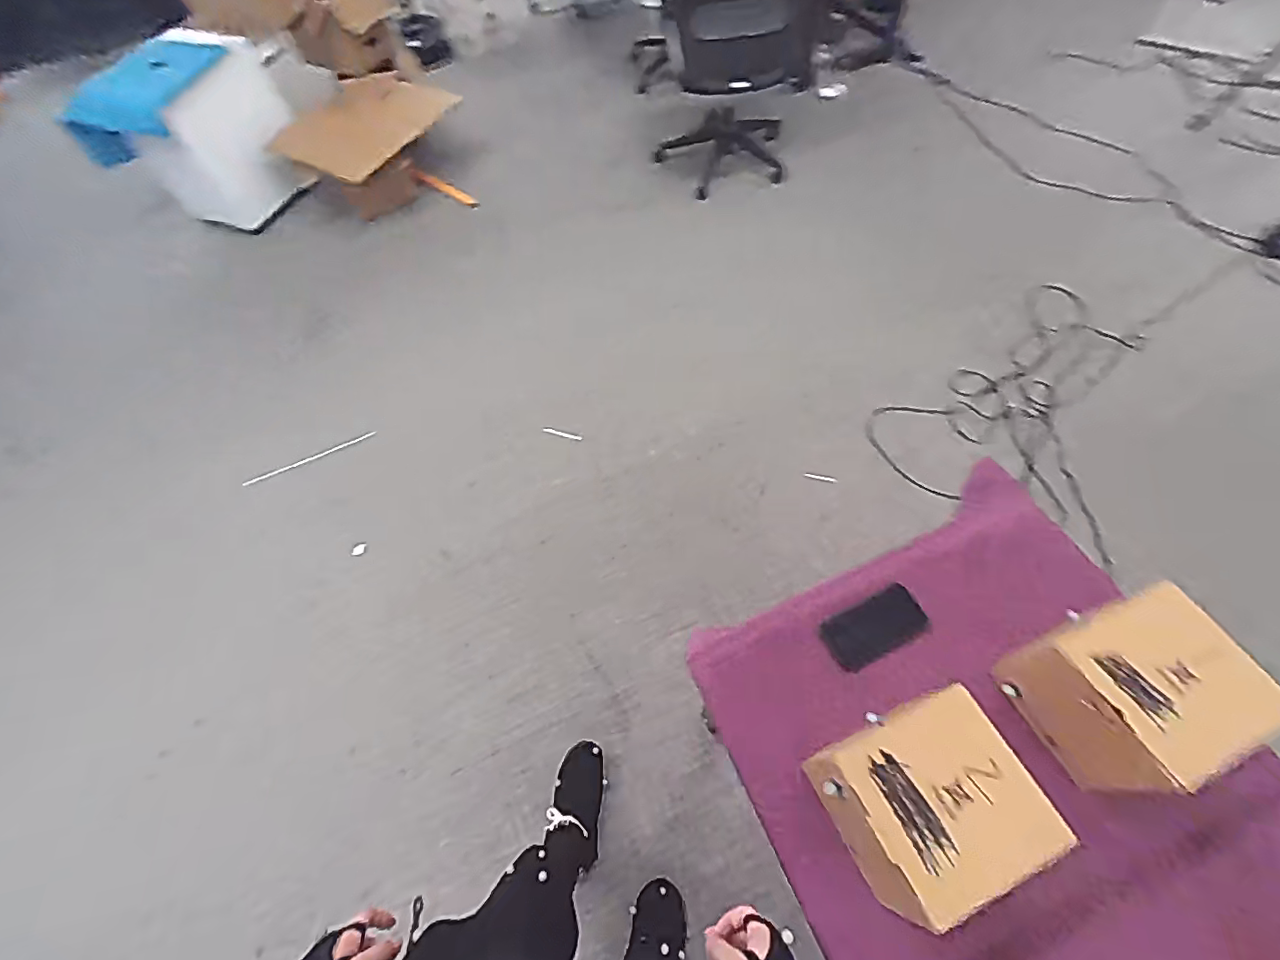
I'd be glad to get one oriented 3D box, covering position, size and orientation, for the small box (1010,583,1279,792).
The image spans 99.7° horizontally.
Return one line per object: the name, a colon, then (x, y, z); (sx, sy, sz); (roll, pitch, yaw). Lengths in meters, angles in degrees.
small box: (0.595, 0.257, 0.655); (0.179, 0.176, 0.168); (-24, 61, -8)
